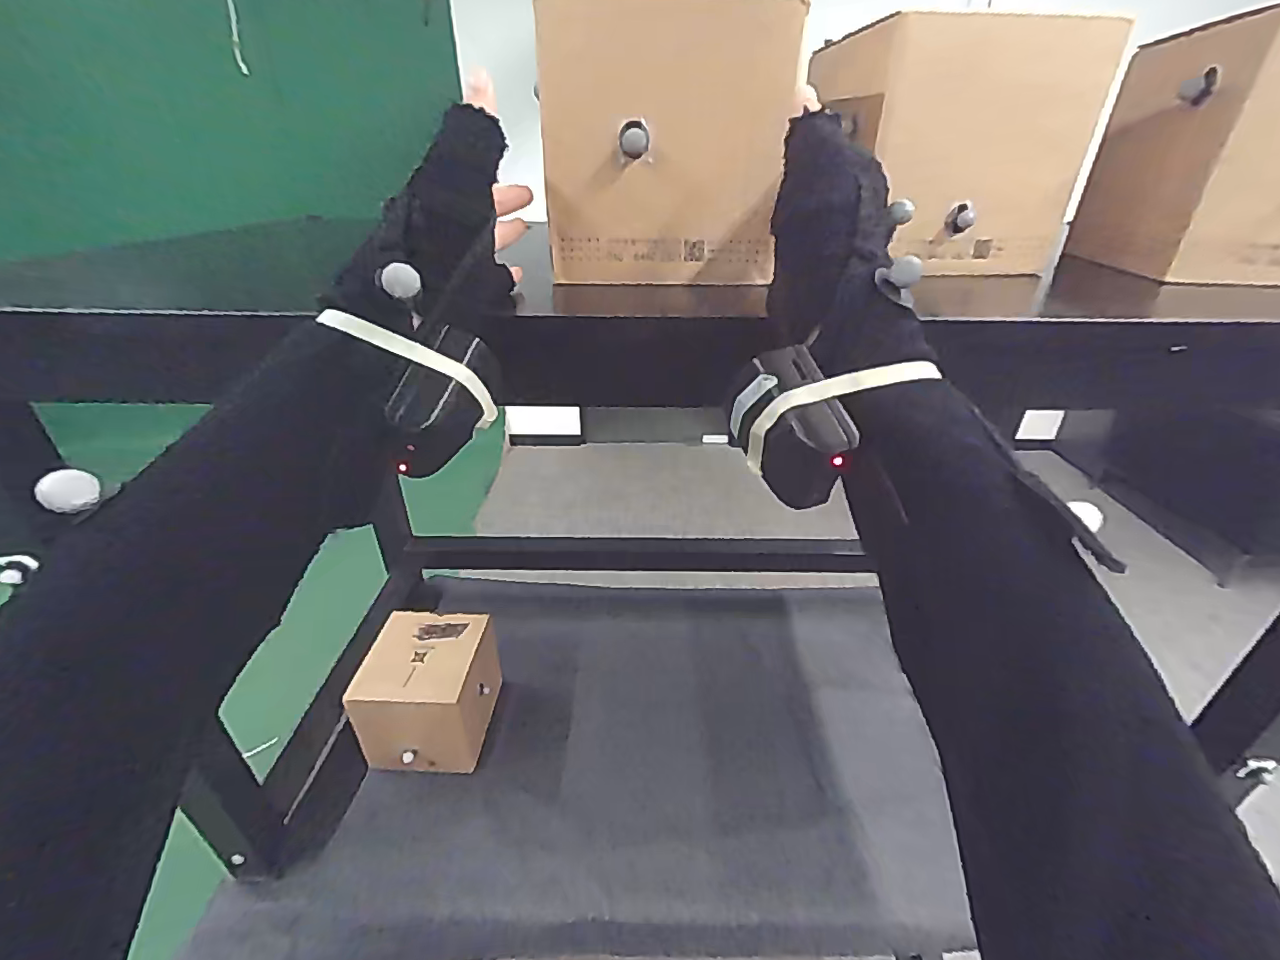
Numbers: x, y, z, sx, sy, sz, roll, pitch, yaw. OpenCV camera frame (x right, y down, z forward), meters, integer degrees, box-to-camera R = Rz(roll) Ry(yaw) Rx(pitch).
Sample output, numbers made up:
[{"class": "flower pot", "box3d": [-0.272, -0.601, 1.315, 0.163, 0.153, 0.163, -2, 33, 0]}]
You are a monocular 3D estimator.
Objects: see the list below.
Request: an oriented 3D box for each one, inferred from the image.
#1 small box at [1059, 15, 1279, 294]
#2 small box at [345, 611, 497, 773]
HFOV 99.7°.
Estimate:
[{"class": "small box", "box3d": [0.487, -0.249, 0.431, 0.168, 0.176, 0.179, 6, 31, 10]}, {"class": "small box", "box3d": [-0.335, 0.335, 0.870, 0.168, 0.176, 0.179, 1, 31, 1]}]
